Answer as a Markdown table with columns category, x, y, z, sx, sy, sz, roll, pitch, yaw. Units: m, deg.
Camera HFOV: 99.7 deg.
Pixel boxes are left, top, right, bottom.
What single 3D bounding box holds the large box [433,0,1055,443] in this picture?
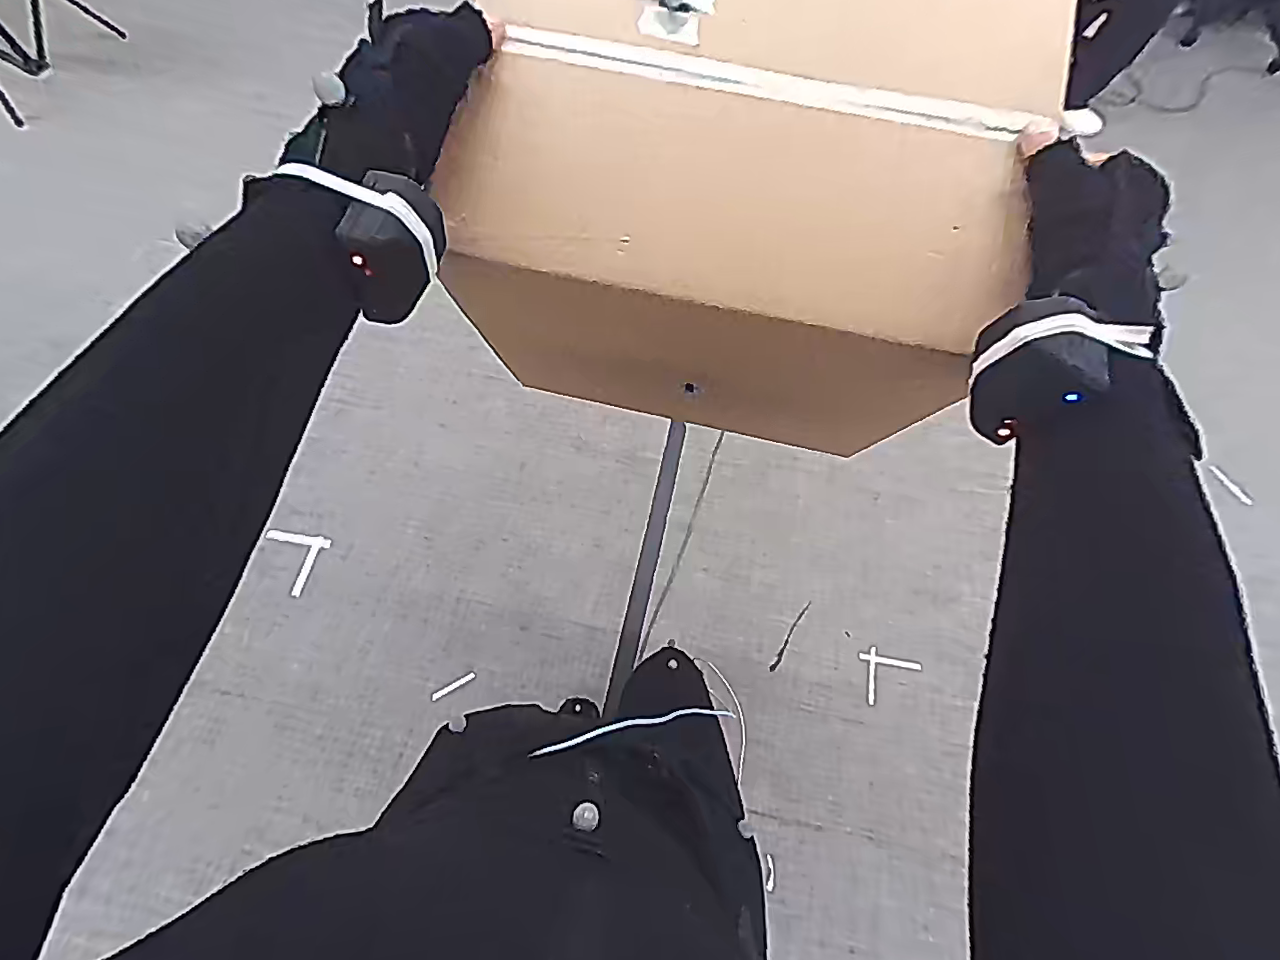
| category | x | y | z | sx | sy | sz | roll | pitch | yaw |
| --- | --- | --- | --- | --- | --- | --- | --- | --- | --- |
| large box | 0.086 | -0.246 | 0.535 | 0.408 | 0.320 | 0.320 | 13 | 82 | 4 |
